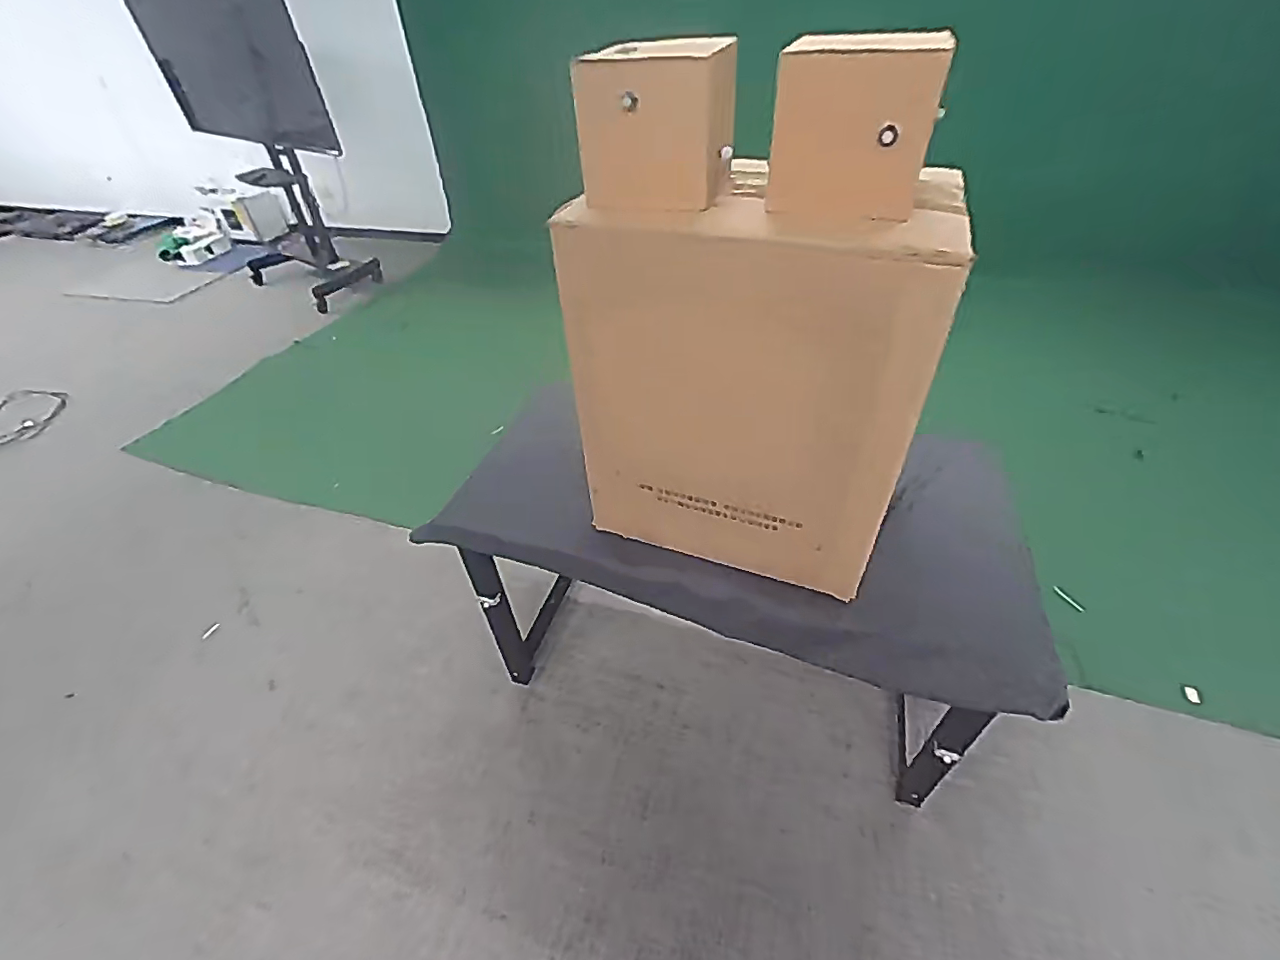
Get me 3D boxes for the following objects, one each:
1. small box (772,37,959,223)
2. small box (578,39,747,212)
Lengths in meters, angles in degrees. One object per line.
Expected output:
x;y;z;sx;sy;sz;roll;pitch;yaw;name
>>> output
0.276;-0.437;0.679;0.179;0.176;0.168;13;45;19;small box
0.039;-0.487;0.748;0.179;0.176;0.168;14;49;20;small box
